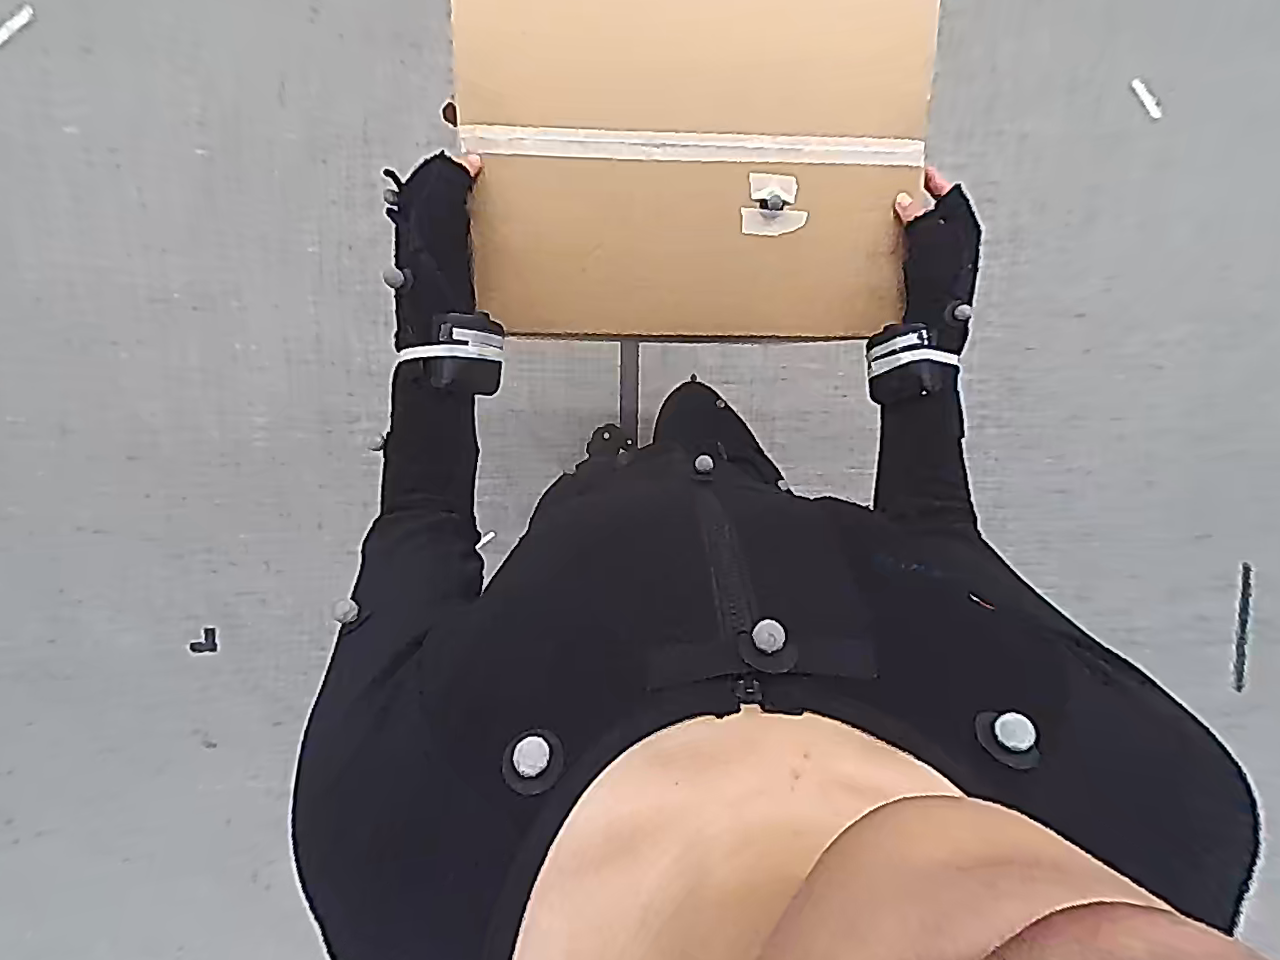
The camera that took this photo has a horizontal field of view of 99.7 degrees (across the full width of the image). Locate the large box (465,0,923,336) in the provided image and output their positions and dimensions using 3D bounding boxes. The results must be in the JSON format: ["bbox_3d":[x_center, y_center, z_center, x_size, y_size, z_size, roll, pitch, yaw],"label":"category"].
[{"bbox_3d":[0.039,-0.336,0.631,0.408,0.320,0.320,-1,104,-5],"label":"large box"}]
